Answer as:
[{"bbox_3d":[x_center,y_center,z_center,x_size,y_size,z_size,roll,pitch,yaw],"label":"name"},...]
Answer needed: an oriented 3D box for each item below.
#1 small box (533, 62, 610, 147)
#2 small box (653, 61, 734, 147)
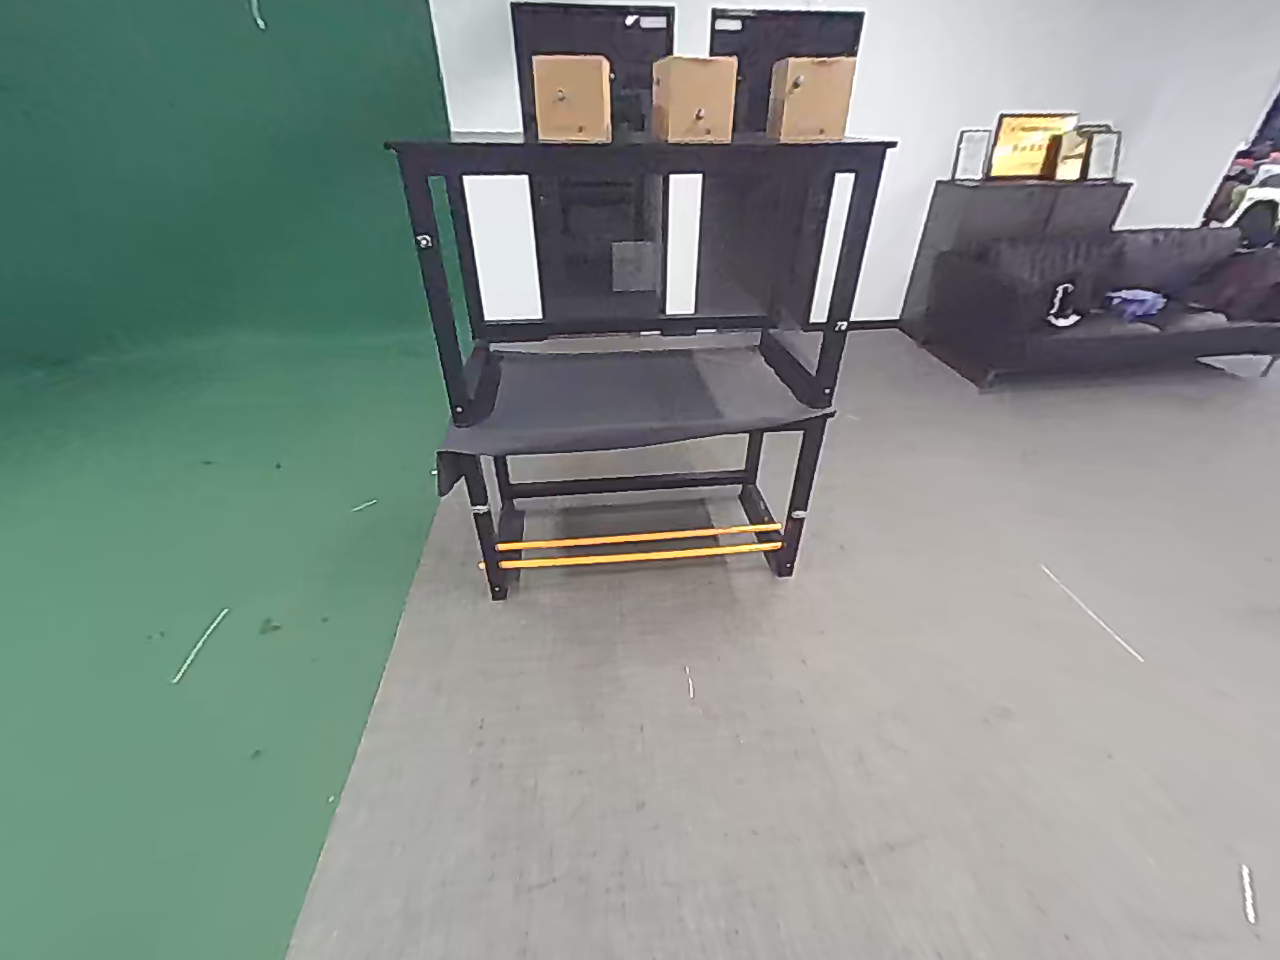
[{"bbox_3d":[-0.164,-0.944,1.369,0.168,0.176,0.179,1,33,1],"label":"small box"},{"bbox_3d":[0.129,-0.955,1.381,0.168,0.176,0.179,-7,35,-9],"label":"small box"}]
